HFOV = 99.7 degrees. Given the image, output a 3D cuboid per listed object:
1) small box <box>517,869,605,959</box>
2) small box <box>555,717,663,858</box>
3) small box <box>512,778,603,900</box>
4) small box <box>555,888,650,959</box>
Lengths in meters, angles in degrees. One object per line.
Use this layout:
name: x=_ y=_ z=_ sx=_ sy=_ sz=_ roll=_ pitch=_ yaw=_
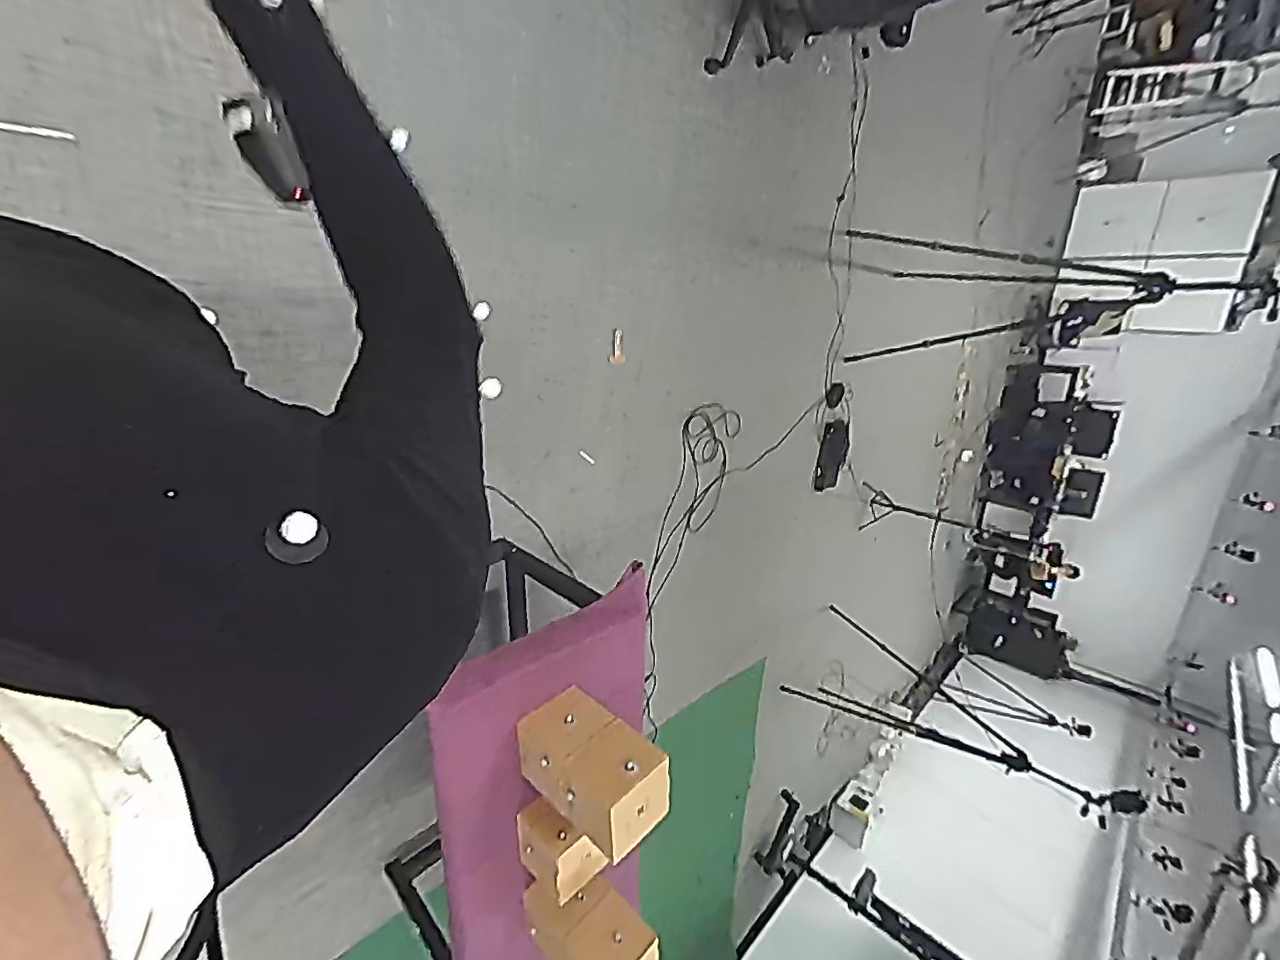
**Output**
small box: x=-0.211 y=1.153 z=1.466 sx=0.179 sy=0.176 sz=0.168 roll=-19 pitch=116 yaw=-42
small box: x=-0.068 y=0.669 z=1.202 sx=0.179 sy=0.176 sz=0.168 roll=-19 pitch=117 yaw=-43
small box: x=-0.206 y=0.900 z=1.386 sx=0.179 sy=0.176 sz=0.168 roll=-18 pitch=116 yaw=-42
small box: x=-0.093 y=1.191 z=1.359 sx=0.179 sy=0.176 sz=0.168 roll=-21 pitch=117 yaw=-43
